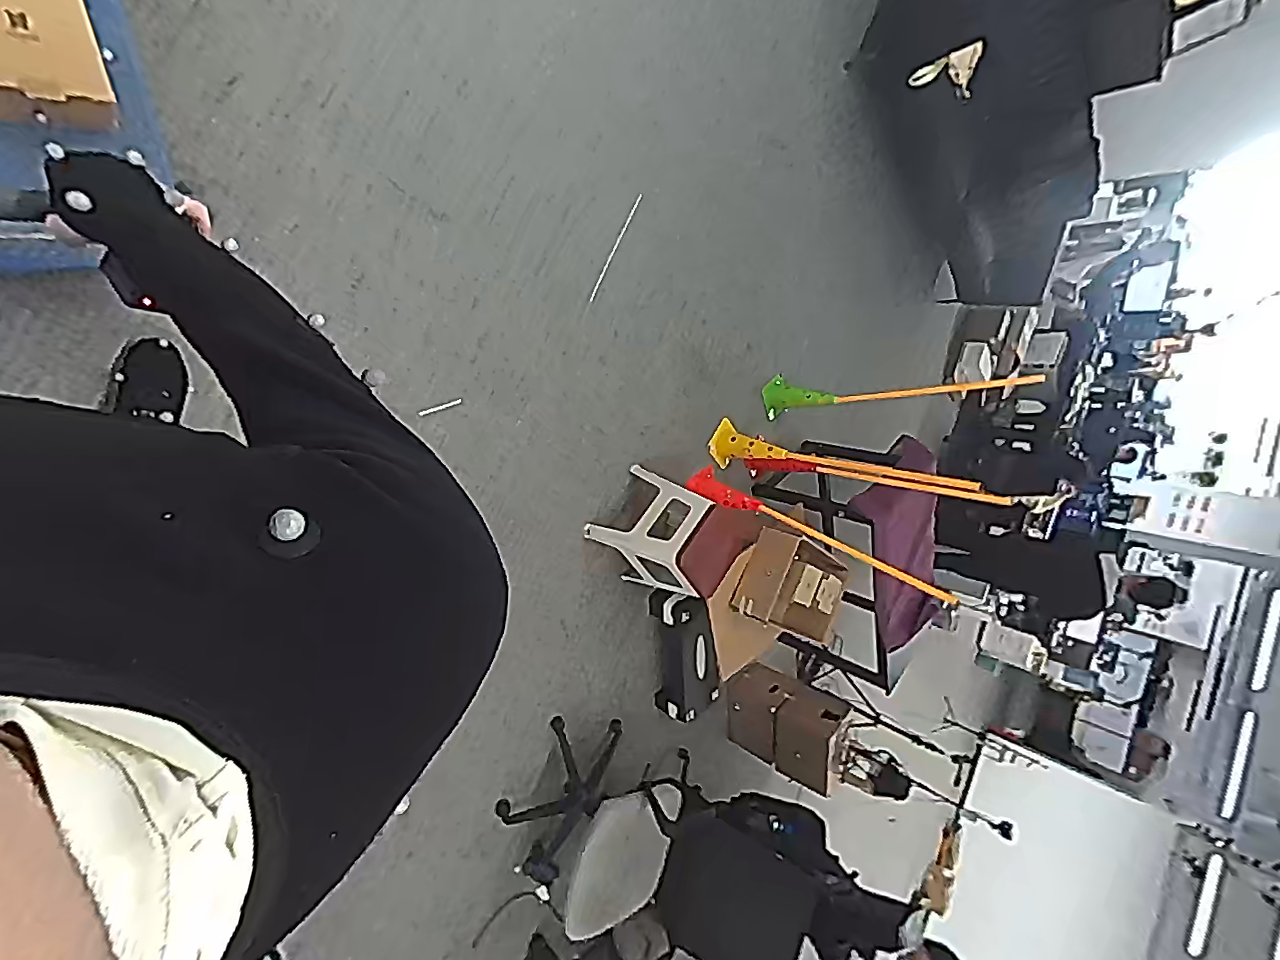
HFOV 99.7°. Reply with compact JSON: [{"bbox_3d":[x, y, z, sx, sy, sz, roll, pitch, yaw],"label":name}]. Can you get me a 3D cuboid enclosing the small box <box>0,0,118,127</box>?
[{"bbox_3d":[-0.961,-0.684,0.847,0.168,0.176,0.179,-21,116,-39],"label":"small box"}]
